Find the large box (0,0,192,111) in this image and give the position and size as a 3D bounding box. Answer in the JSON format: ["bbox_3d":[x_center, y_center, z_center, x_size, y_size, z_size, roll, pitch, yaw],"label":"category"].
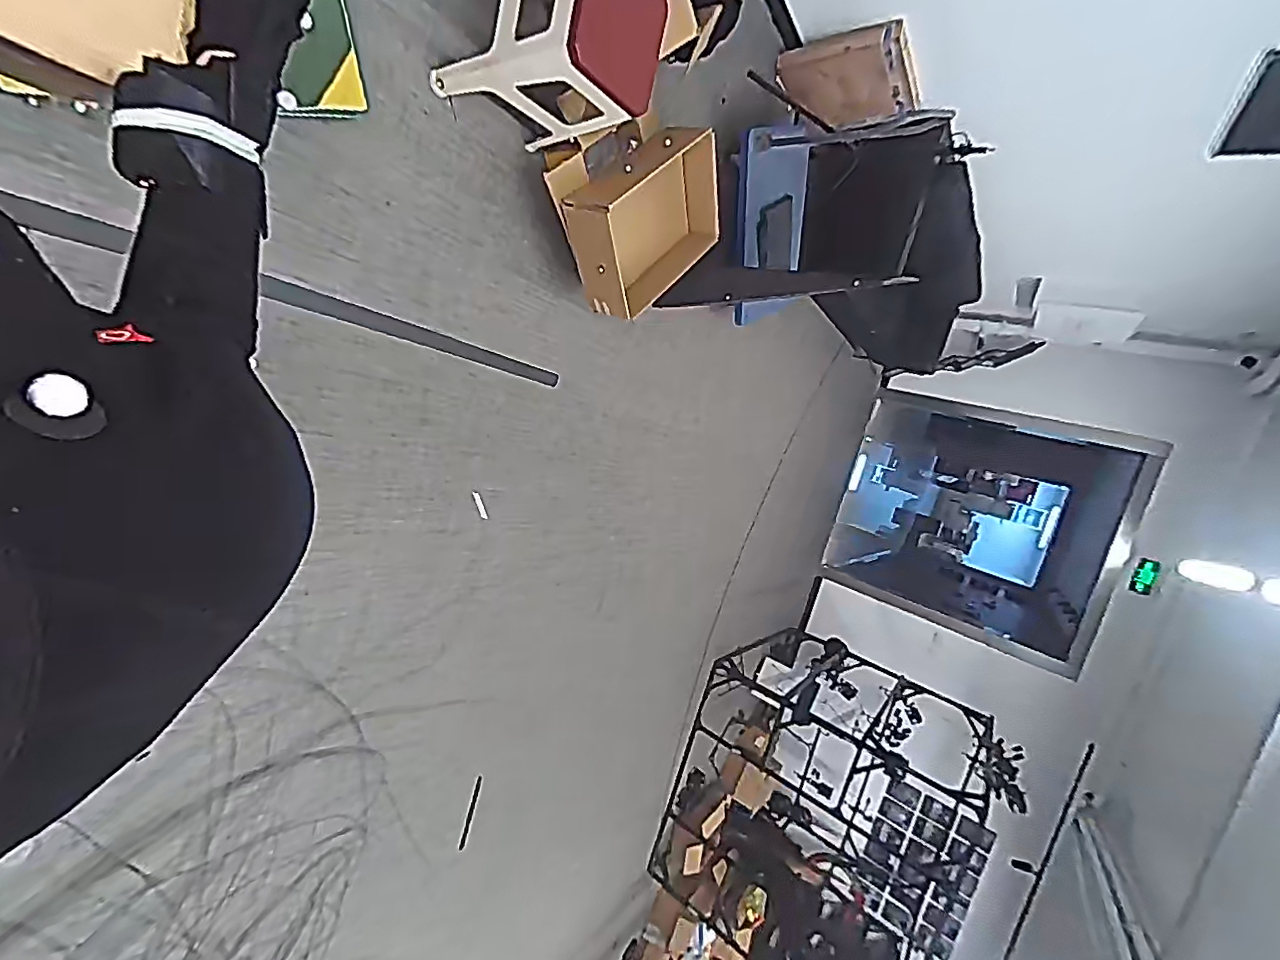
[{"bbox_3d":[-0.511,-0.457,0.262,0.408,0.320,0.320,-1,114,-59],"label":"large box"}]
